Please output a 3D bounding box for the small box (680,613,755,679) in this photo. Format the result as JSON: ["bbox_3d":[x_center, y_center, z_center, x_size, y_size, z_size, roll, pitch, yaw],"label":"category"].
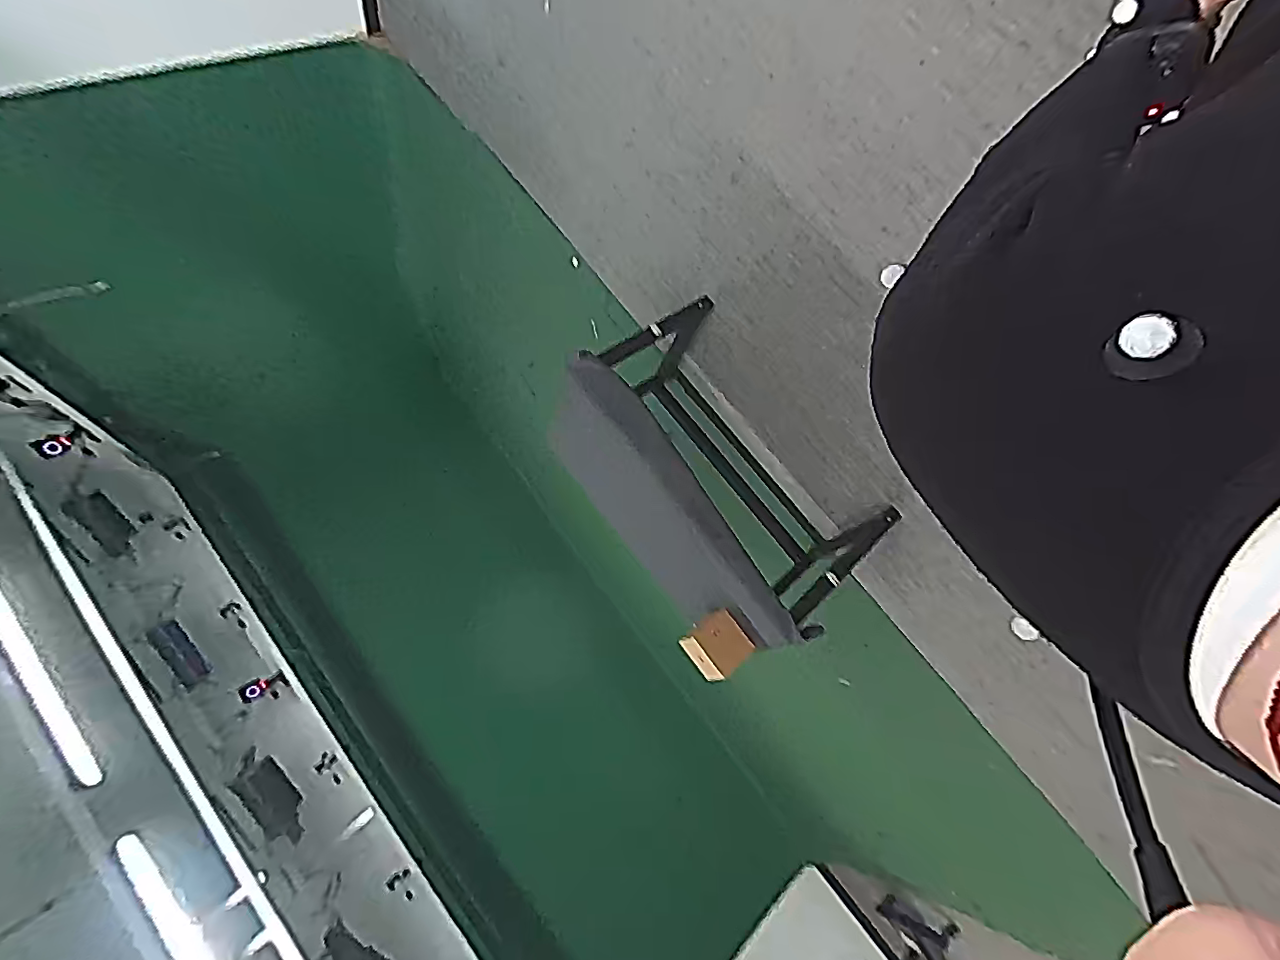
[{"bbox_3d":[0.282,0.601,1.971,0.179,0.176,0.168,53,156,5],"label":"small box"}]
